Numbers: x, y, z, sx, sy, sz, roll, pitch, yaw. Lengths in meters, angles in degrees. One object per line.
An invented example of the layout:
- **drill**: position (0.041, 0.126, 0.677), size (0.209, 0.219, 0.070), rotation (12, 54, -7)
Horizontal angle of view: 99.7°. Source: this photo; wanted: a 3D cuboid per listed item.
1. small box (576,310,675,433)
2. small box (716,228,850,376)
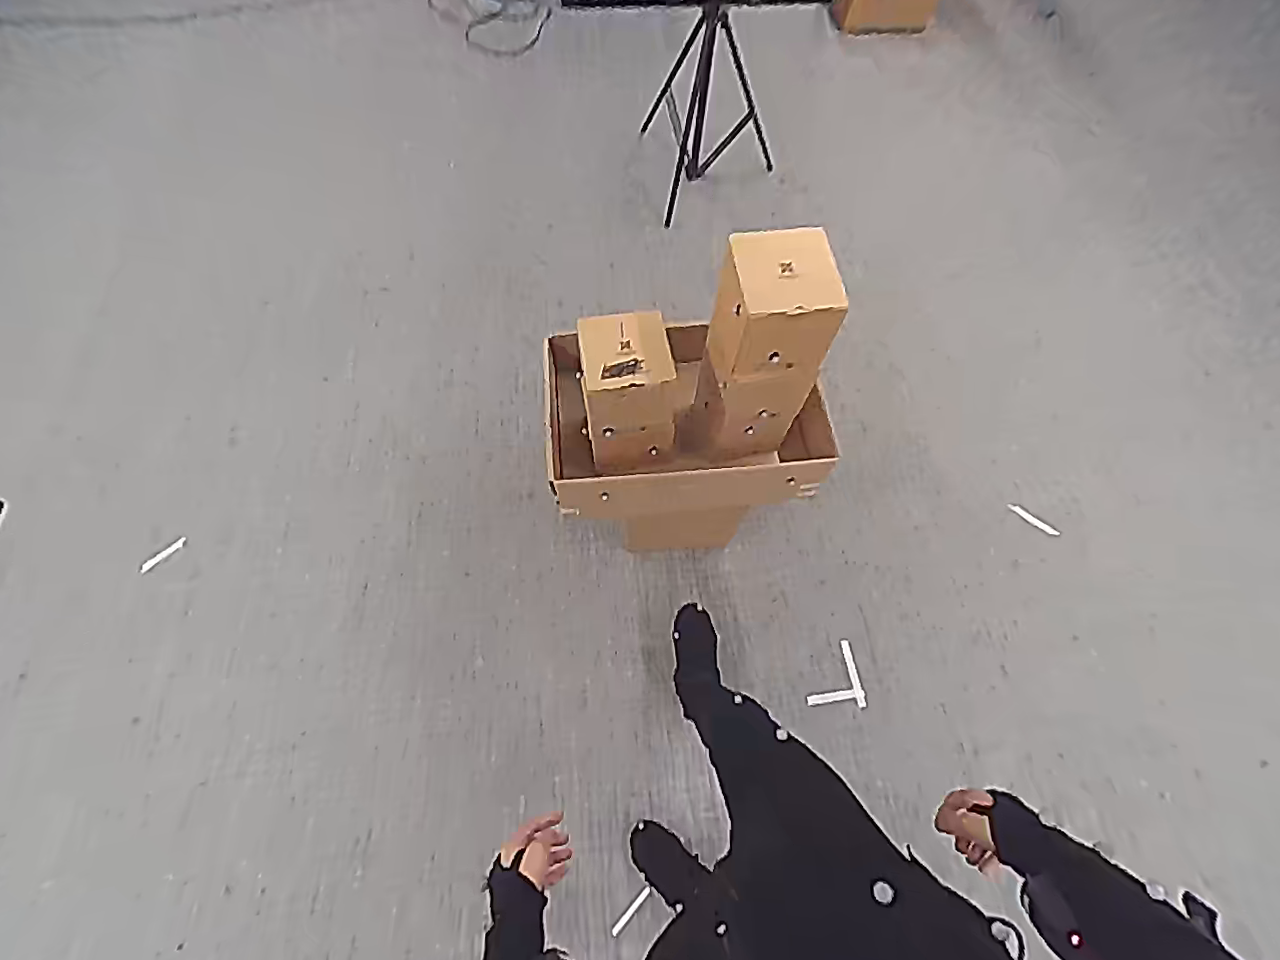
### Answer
- **small box**: position (-0.029, -0.205, 1.068), size (0.168, 0.176, 0.179), rotation (-8, 64, -5)
- **small box**: position (0.234, -0.304, 0.938), size (0.168, 0.176, 0.179), rotation (-6, 67, -4)
